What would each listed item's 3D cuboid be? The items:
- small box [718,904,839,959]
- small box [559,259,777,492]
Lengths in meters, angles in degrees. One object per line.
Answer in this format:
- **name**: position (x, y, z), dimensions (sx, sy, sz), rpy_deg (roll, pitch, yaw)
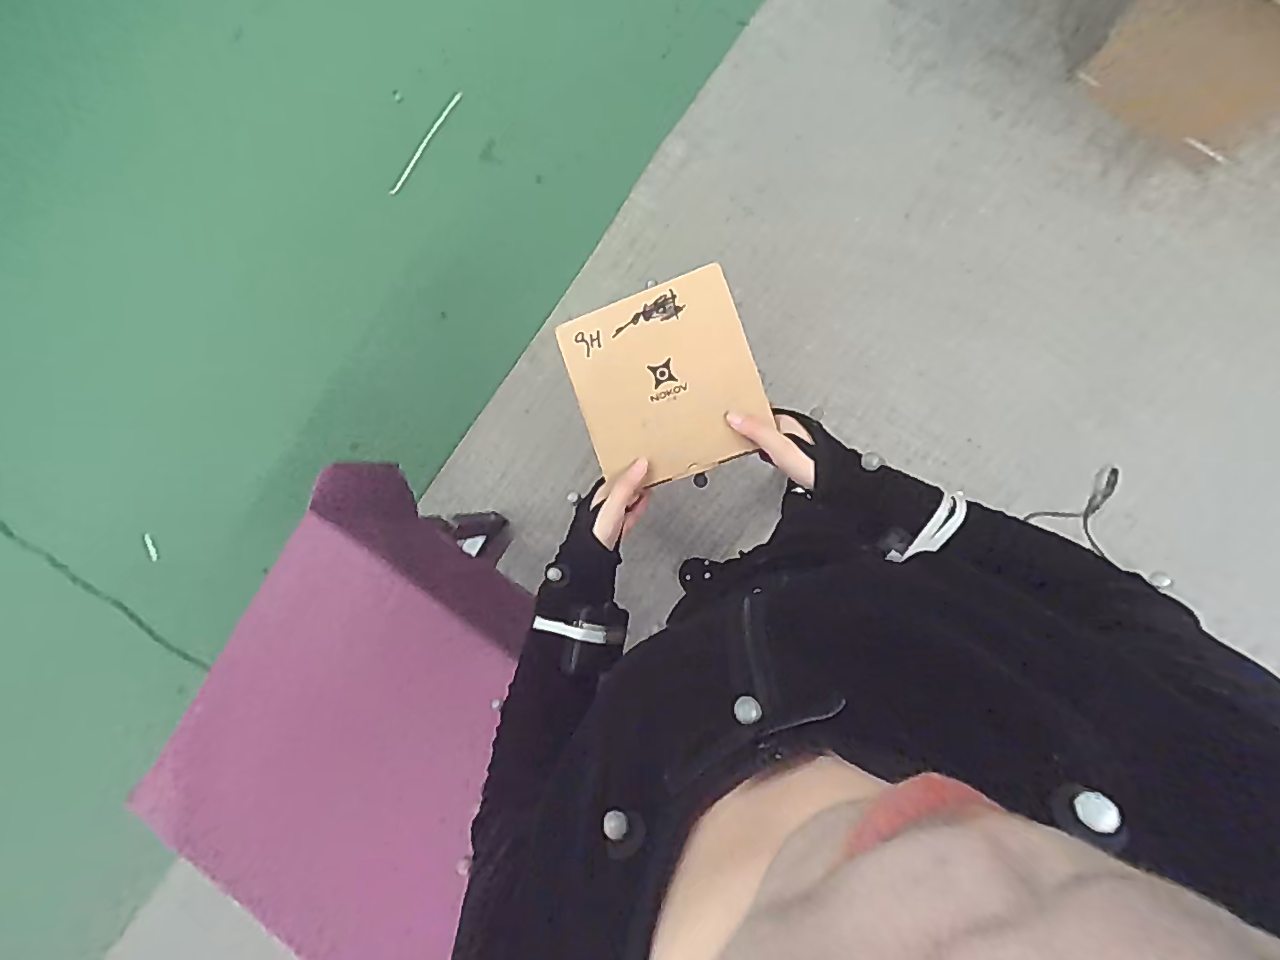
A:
- **small box**: position (0.179, 0.697, 0.675), dimensions (0.168, 0.176, 0.179), rpy_deg (31, 94, 9)
- **small box**: position (0.035, -0.099, 0.575), dimensions (0.168, 0.176, 0.179), rpy_deg (-18, 90, 8)
